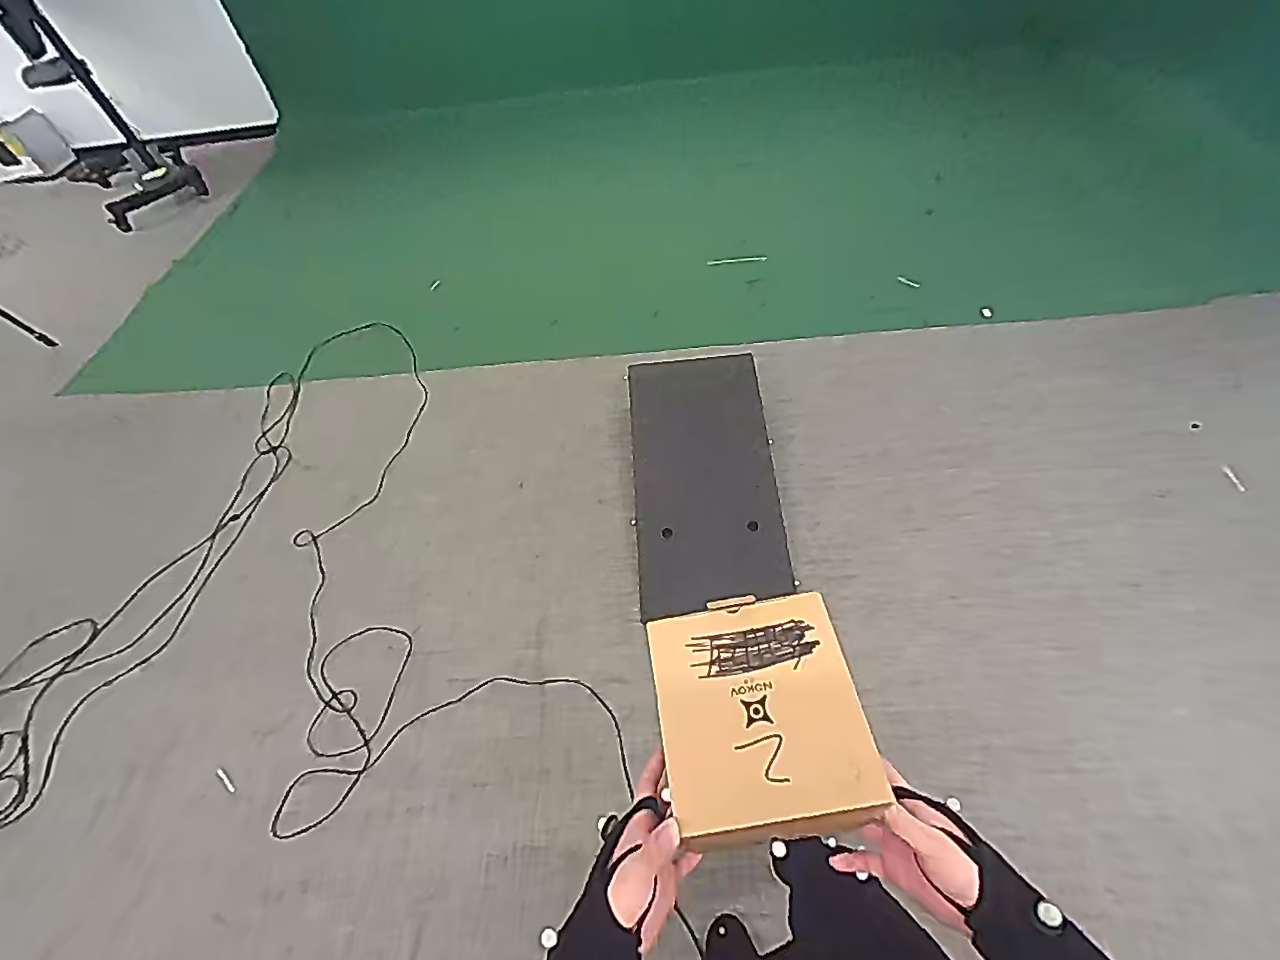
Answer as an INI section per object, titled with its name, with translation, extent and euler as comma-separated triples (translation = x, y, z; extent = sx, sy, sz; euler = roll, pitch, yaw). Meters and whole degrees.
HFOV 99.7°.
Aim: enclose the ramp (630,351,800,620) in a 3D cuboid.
[ramp]
translation = 0.230, -0.030, 1.881
extent = 0.509, 0.206, 0.991
euler = -5, 54, 1
